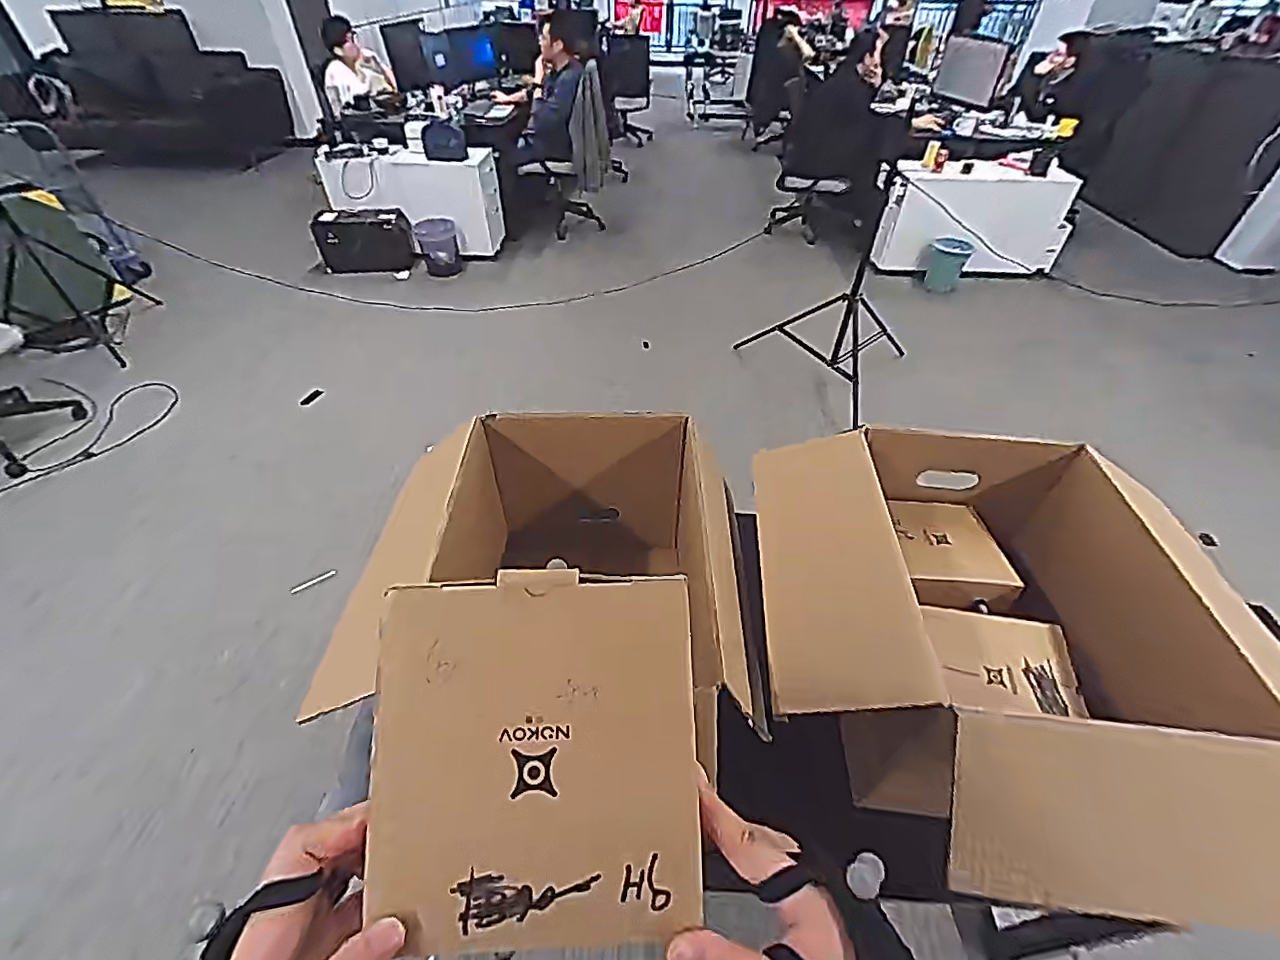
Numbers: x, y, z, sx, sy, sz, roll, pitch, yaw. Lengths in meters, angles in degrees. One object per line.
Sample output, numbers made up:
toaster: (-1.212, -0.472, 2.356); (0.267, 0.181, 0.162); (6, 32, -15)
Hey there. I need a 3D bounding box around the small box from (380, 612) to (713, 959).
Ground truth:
small box: (-0.051, 0.179, 0.359); (0.168, 0.176, 0.179); (-2, 79, -3)
